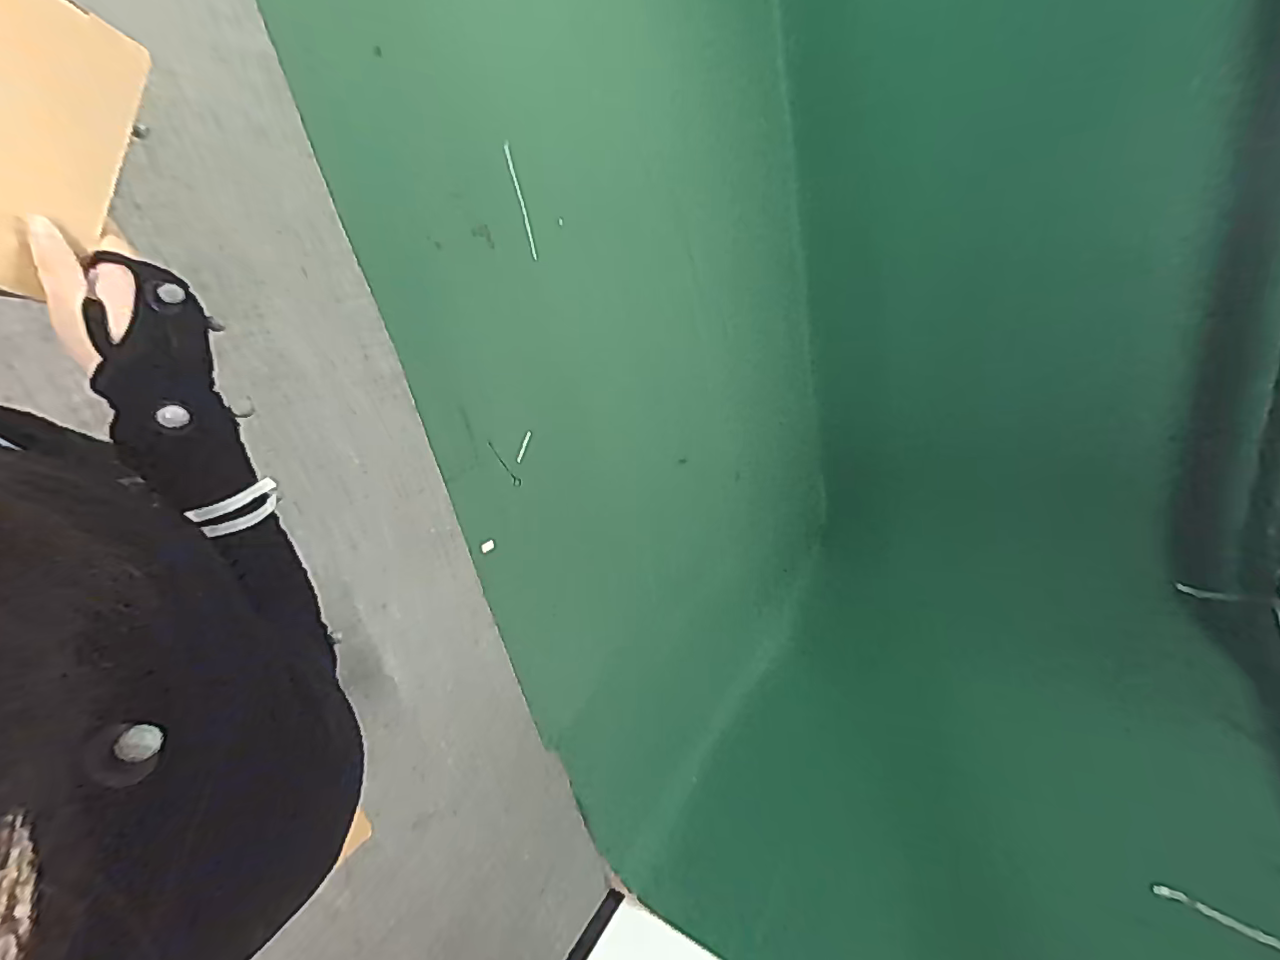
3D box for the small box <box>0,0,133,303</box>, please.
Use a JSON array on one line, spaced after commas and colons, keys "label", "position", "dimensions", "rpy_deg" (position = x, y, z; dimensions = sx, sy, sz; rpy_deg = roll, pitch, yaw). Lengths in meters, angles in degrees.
[{"label": "small box", "position": [-0.446, -0.222, 0.307], "dimensions": [0.168, 0.176, 0.179], "rpy_deg": [16, 89, -62]}]
